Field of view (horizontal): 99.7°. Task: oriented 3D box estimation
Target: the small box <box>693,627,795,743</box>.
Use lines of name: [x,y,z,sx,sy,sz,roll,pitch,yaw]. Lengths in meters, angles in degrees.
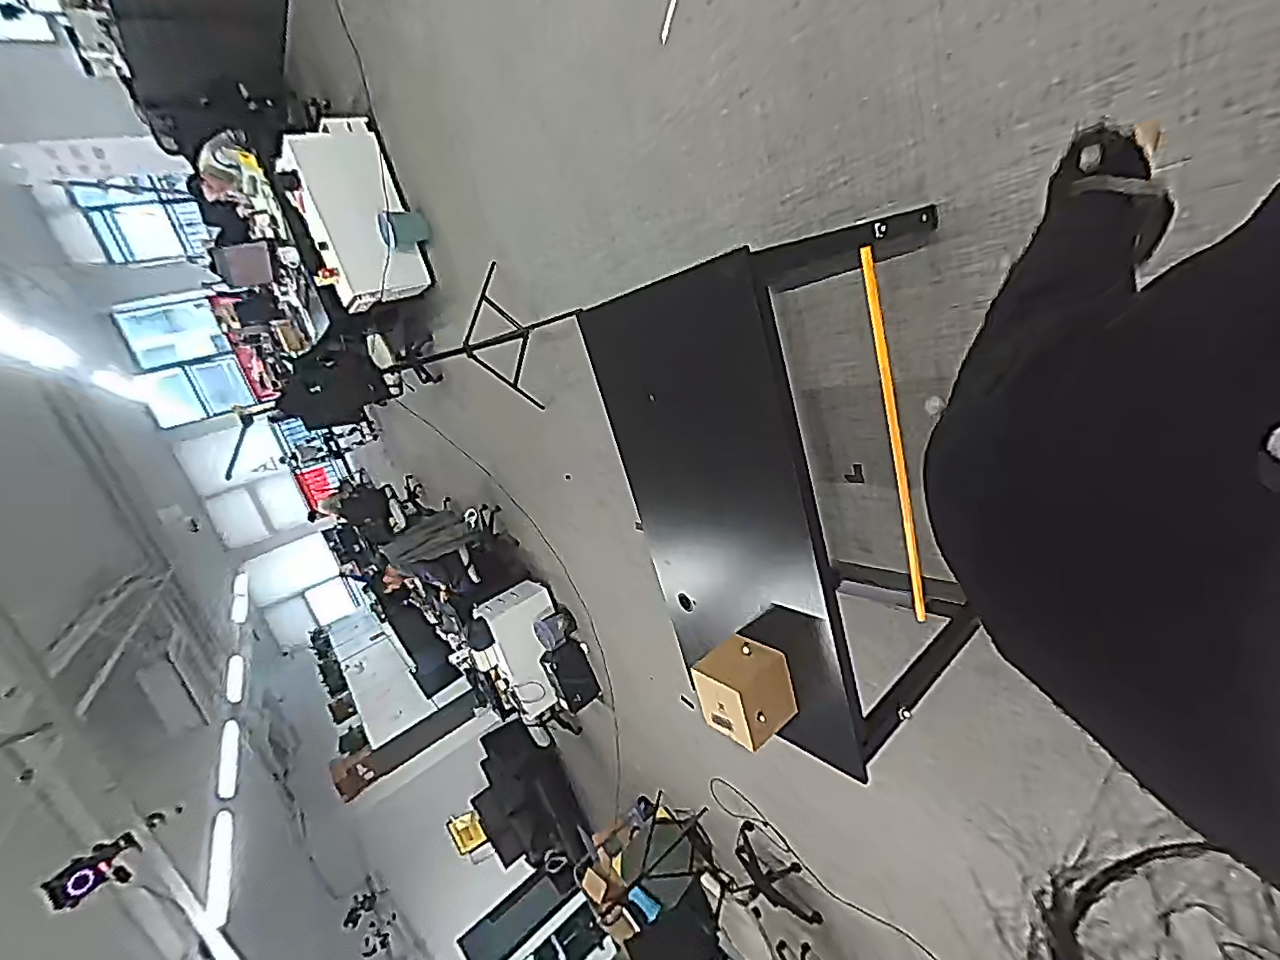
small box: [0.263,0.502,1.346,0.168,0.176,0.179,7,118,54]
